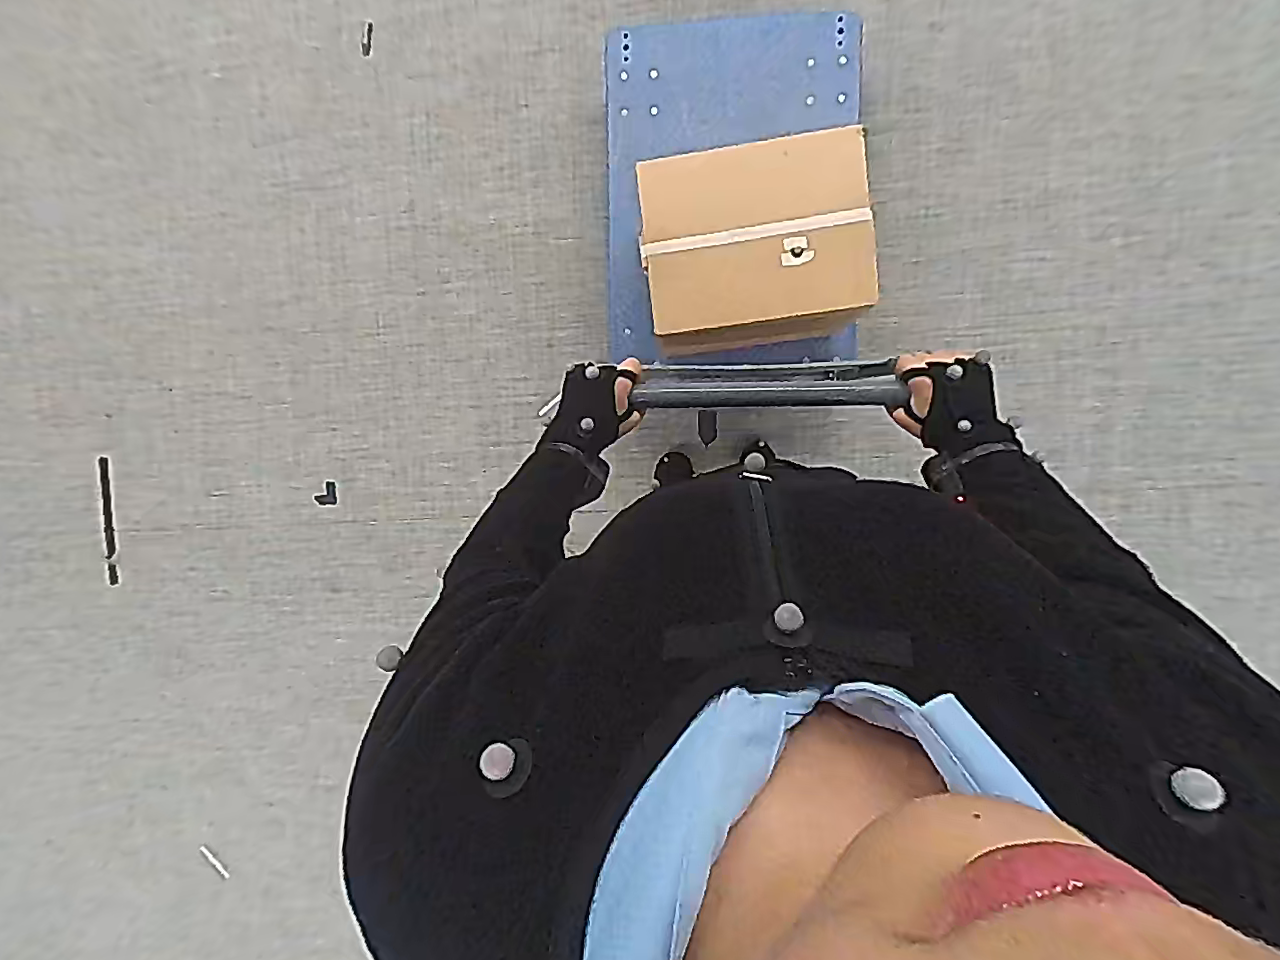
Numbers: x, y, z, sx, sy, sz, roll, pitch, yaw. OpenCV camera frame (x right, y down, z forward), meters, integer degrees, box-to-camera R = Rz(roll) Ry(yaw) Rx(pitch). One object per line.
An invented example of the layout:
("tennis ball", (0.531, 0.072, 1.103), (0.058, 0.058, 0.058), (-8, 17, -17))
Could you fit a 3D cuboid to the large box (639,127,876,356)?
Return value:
("large box", (0.223, -0.463, 1.134), (0.408, 0.320, 0.320), (-7, 95, 5))
